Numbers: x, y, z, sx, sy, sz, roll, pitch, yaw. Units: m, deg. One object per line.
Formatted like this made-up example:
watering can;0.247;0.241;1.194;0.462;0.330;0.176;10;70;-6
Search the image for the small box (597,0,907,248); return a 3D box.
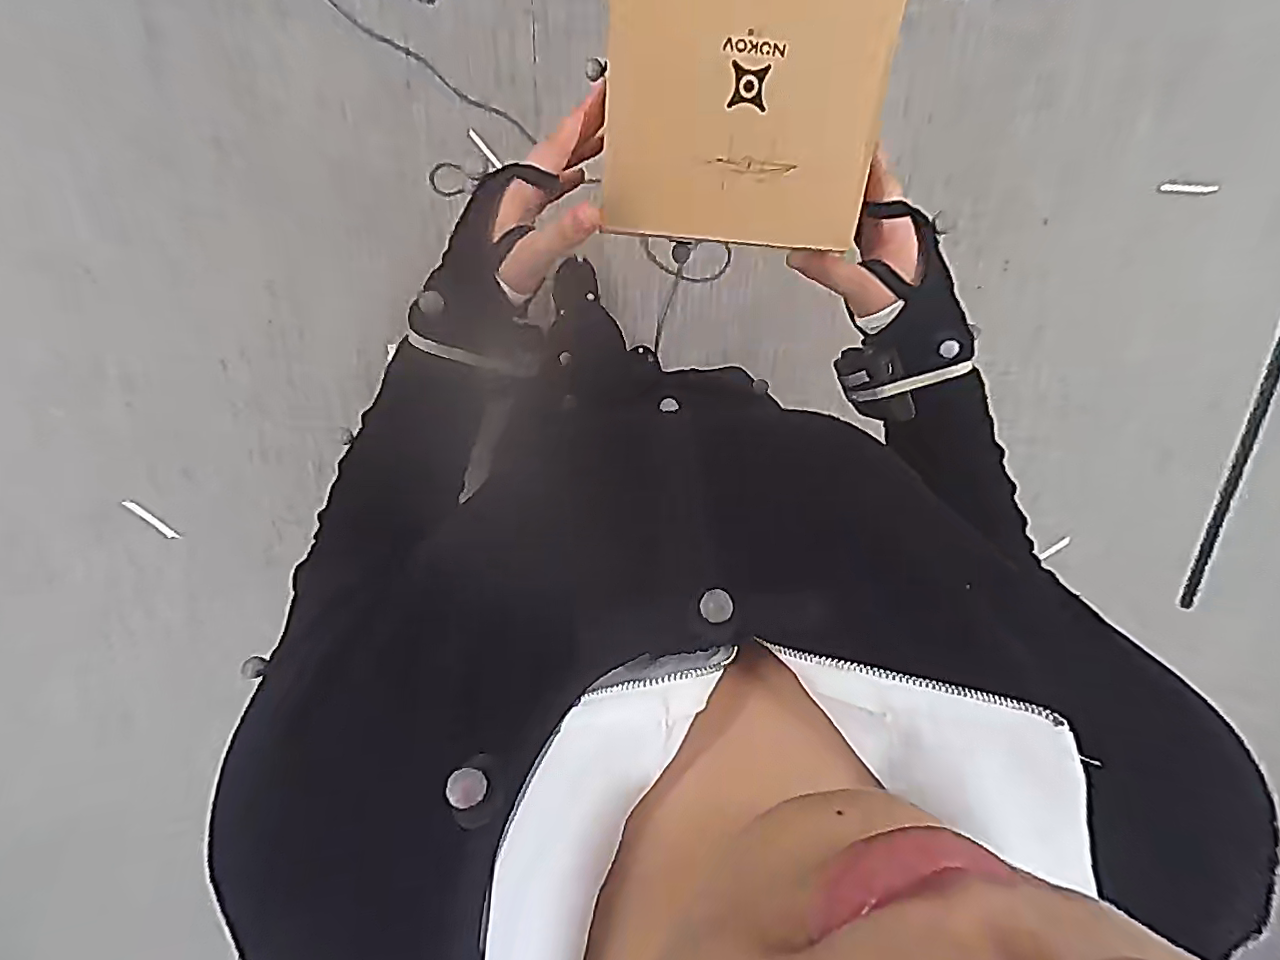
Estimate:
small box;0.056;-0.265;0.378;0.168;0.176;0.179;3;114;-5
